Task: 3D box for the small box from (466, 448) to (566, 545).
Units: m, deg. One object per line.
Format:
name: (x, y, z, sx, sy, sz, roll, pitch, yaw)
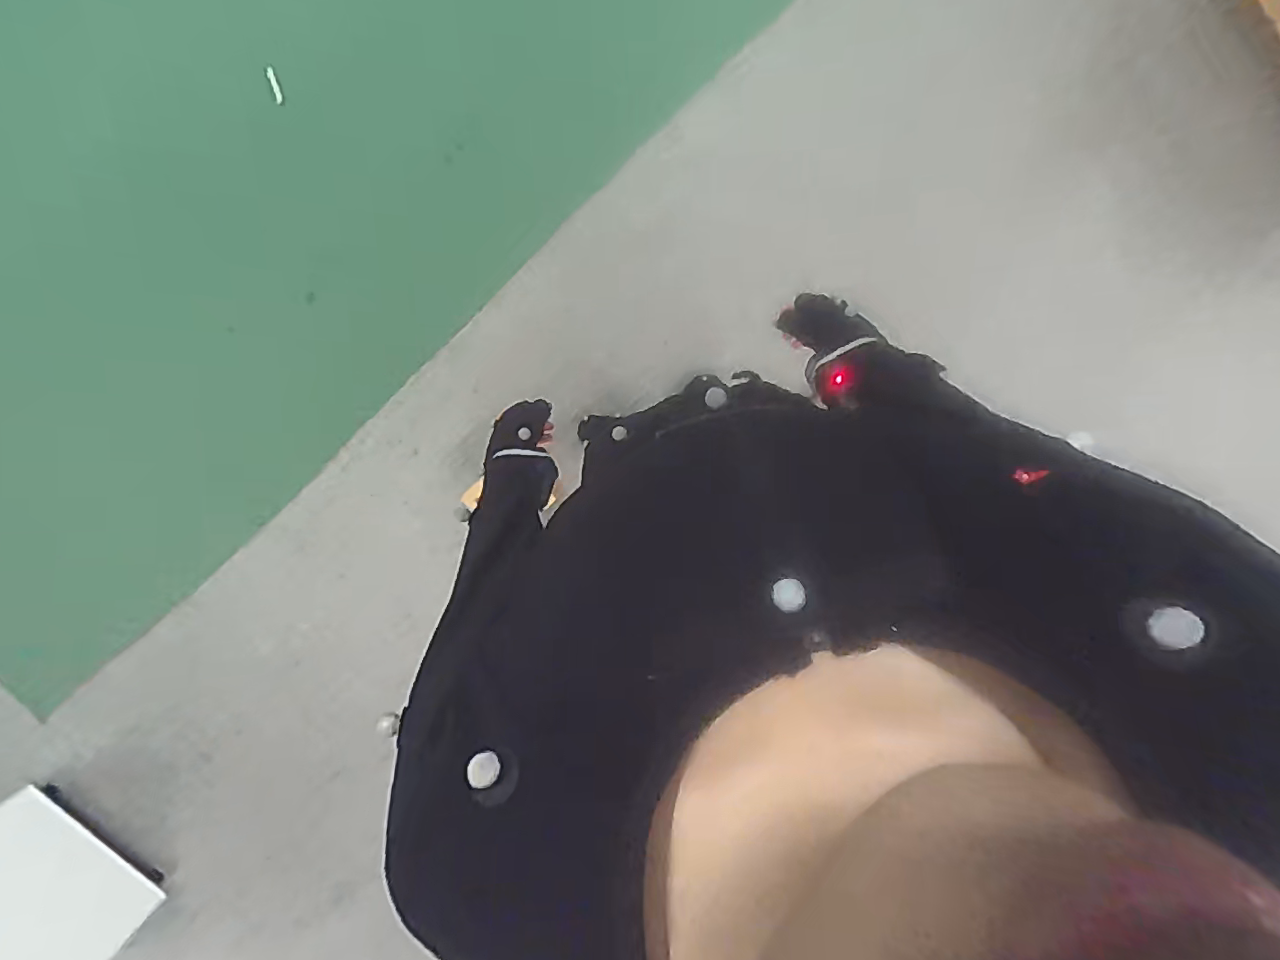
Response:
small box: (-0.308, 0.037, 1.394, 0.179, 0.176, 0.168, -43, 97, 5)
